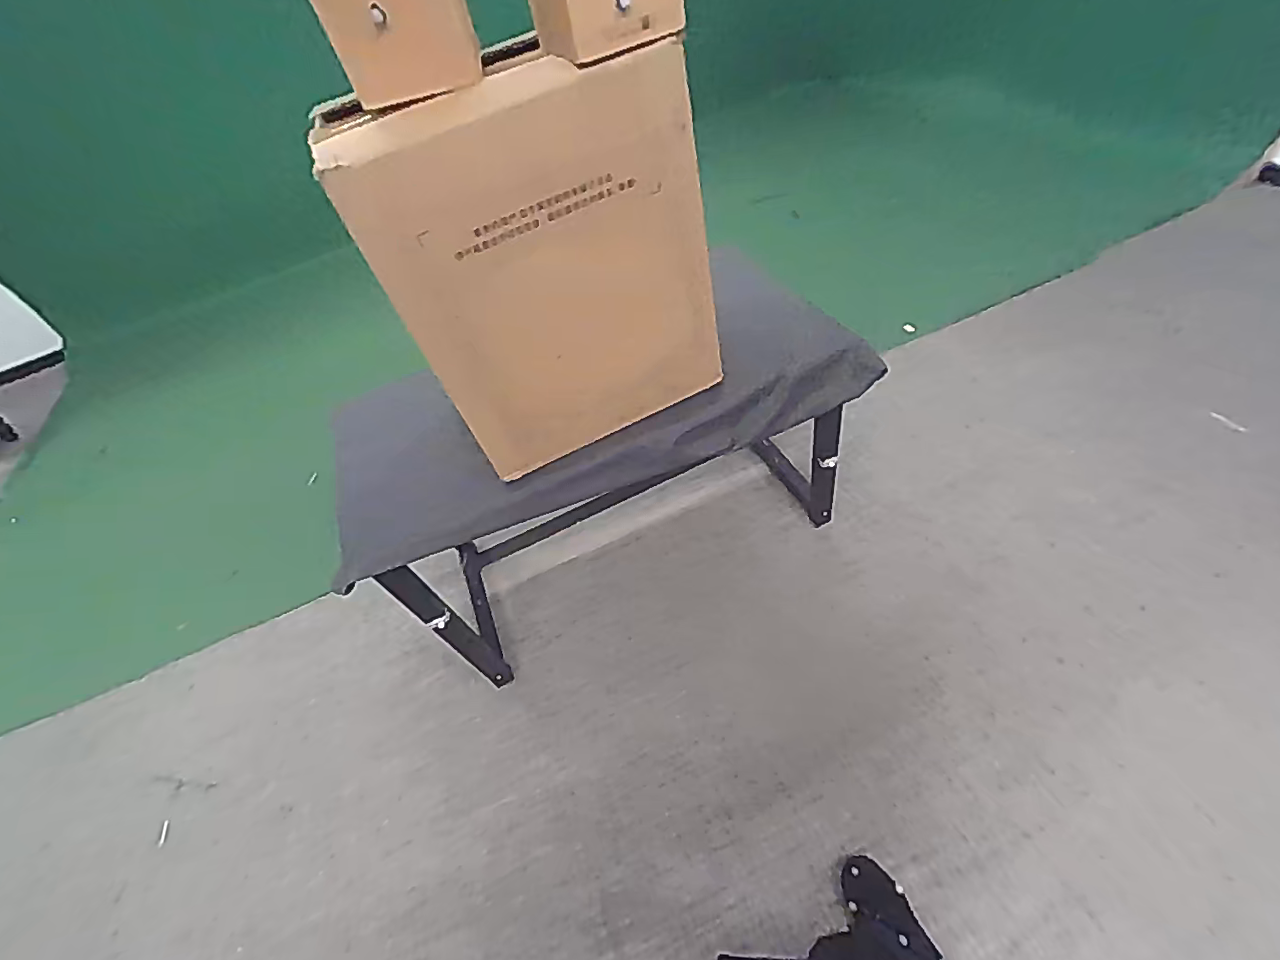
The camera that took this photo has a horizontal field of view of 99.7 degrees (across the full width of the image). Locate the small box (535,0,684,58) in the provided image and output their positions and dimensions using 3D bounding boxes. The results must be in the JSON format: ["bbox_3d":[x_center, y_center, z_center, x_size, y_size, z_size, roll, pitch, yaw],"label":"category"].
[{"bbox_3d":[-0.056,-0.700,0.731,0.168,0.176,0.179,-26,50,-8],"label":"small box"}]

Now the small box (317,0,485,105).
[{"bbox_3d":[-0.332,-0.657,0.750,0.179,0.176,0.168,-15,57,1],"label":"small box"}]
